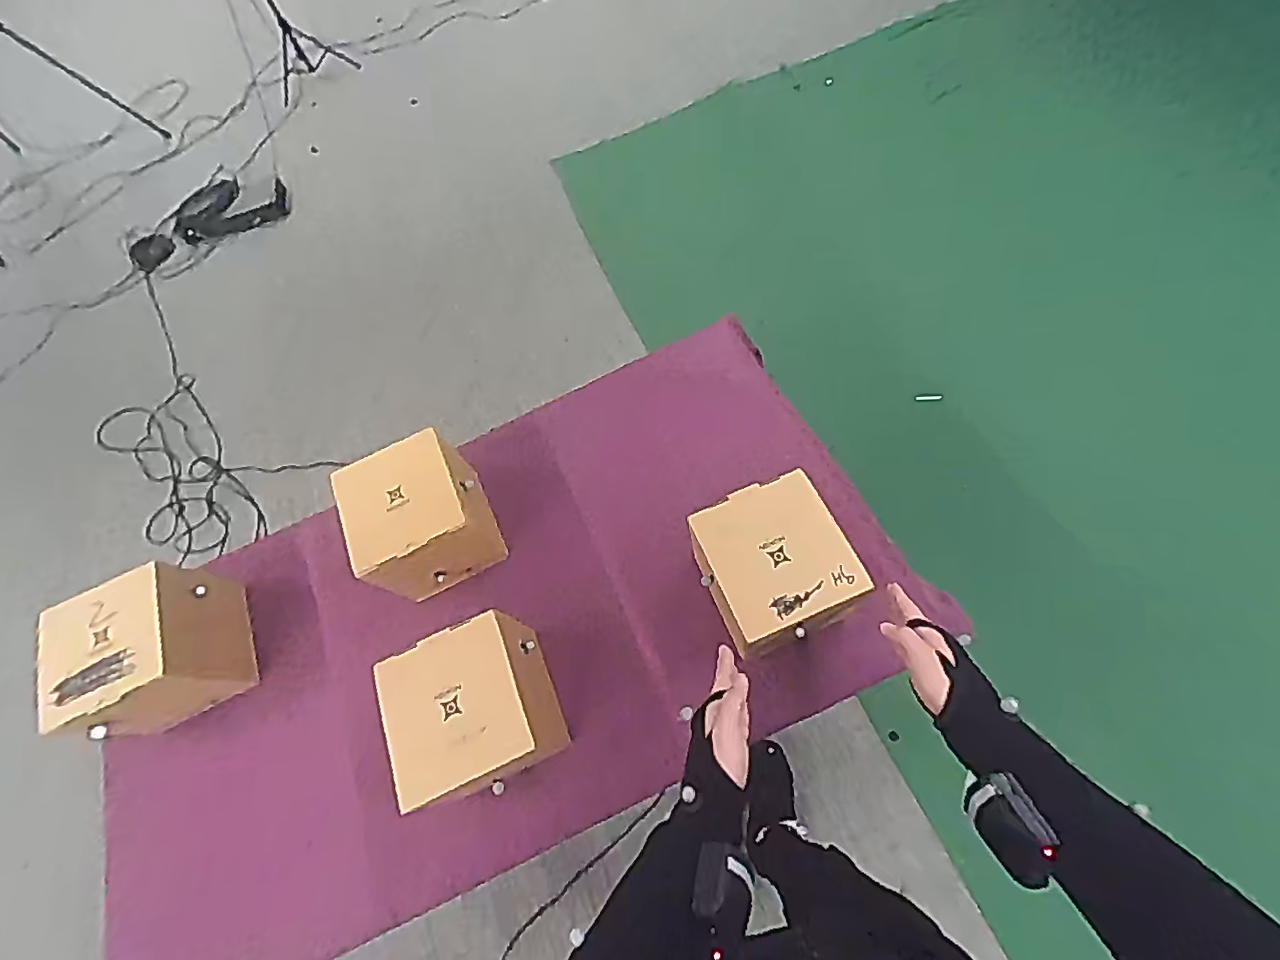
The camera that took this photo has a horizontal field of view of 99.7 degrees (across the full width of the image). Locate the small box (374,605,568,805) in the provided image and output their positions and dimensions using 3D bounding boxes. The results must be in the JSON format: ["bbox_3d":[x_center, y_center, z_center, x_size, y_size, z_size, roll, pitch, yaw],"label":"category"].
[{"bbox_3d":[-0.211,0.289,0.701,0.168,0.176,0.179,-24,64,-3],"label":"small box"}]

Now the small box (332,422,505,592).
[{"bbox_3d":[-0.330,0.048,0.828,0.168,0.176,0.179,-26,66,-5],"label":"small box"}]

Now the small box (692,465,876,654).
[{"bbox_3d":[0.180,0.114,0.728,0.168,0.176,0.179,-22,63,-2],"label":"small box"}]
